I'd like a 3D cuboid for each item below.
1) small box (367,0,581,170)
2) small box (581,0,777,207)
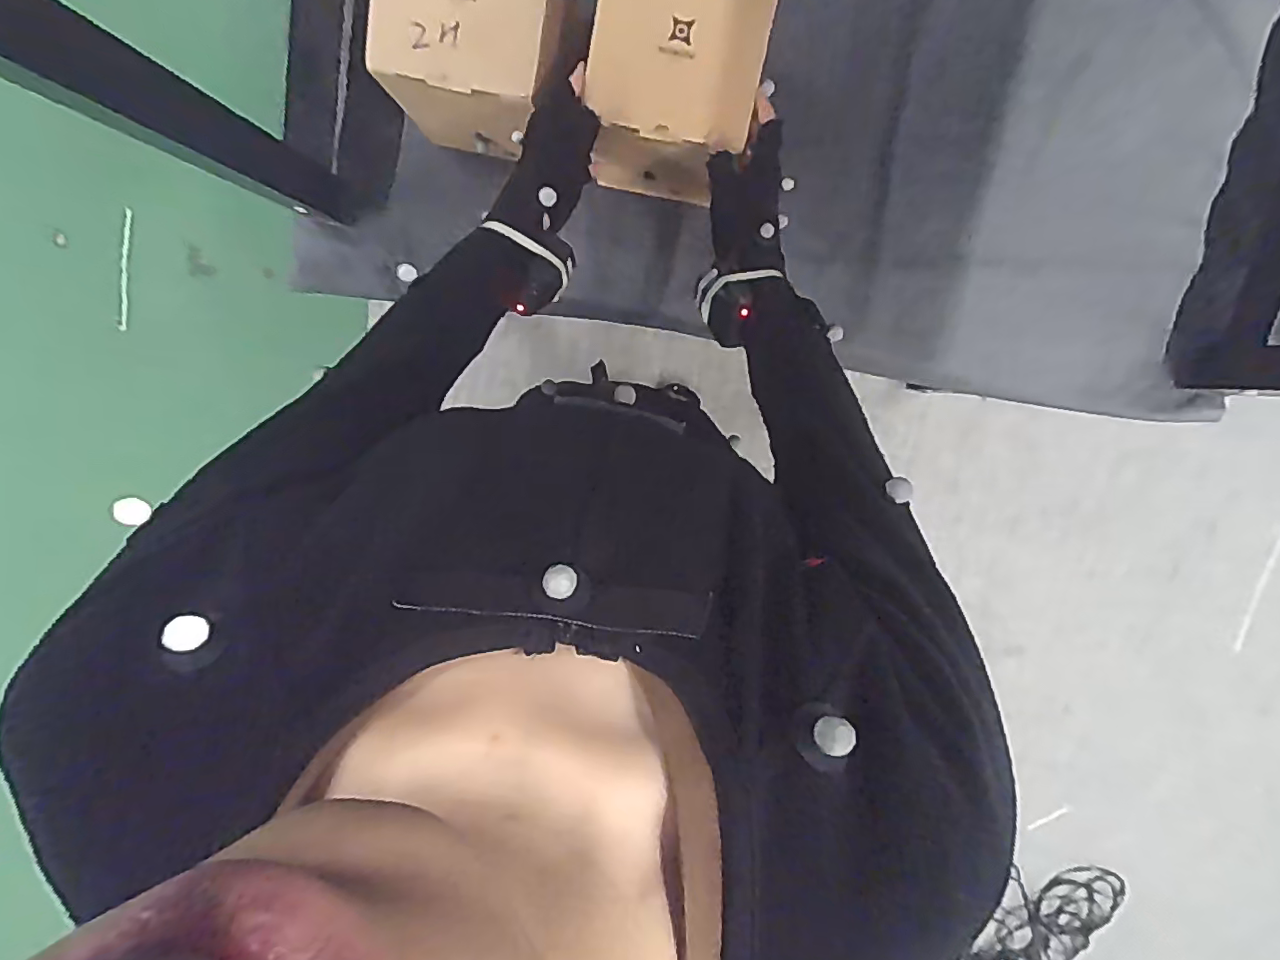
[{"bbox_3d":[-0.163,-0.473,0.583,0.168,0.176,0.179,12,100,-1],"label":"small box"},{"bbox_3d":[0.040,-0.429,0.589,0.168,0.176,0.179,11,100,0],"label":"small box"}]
